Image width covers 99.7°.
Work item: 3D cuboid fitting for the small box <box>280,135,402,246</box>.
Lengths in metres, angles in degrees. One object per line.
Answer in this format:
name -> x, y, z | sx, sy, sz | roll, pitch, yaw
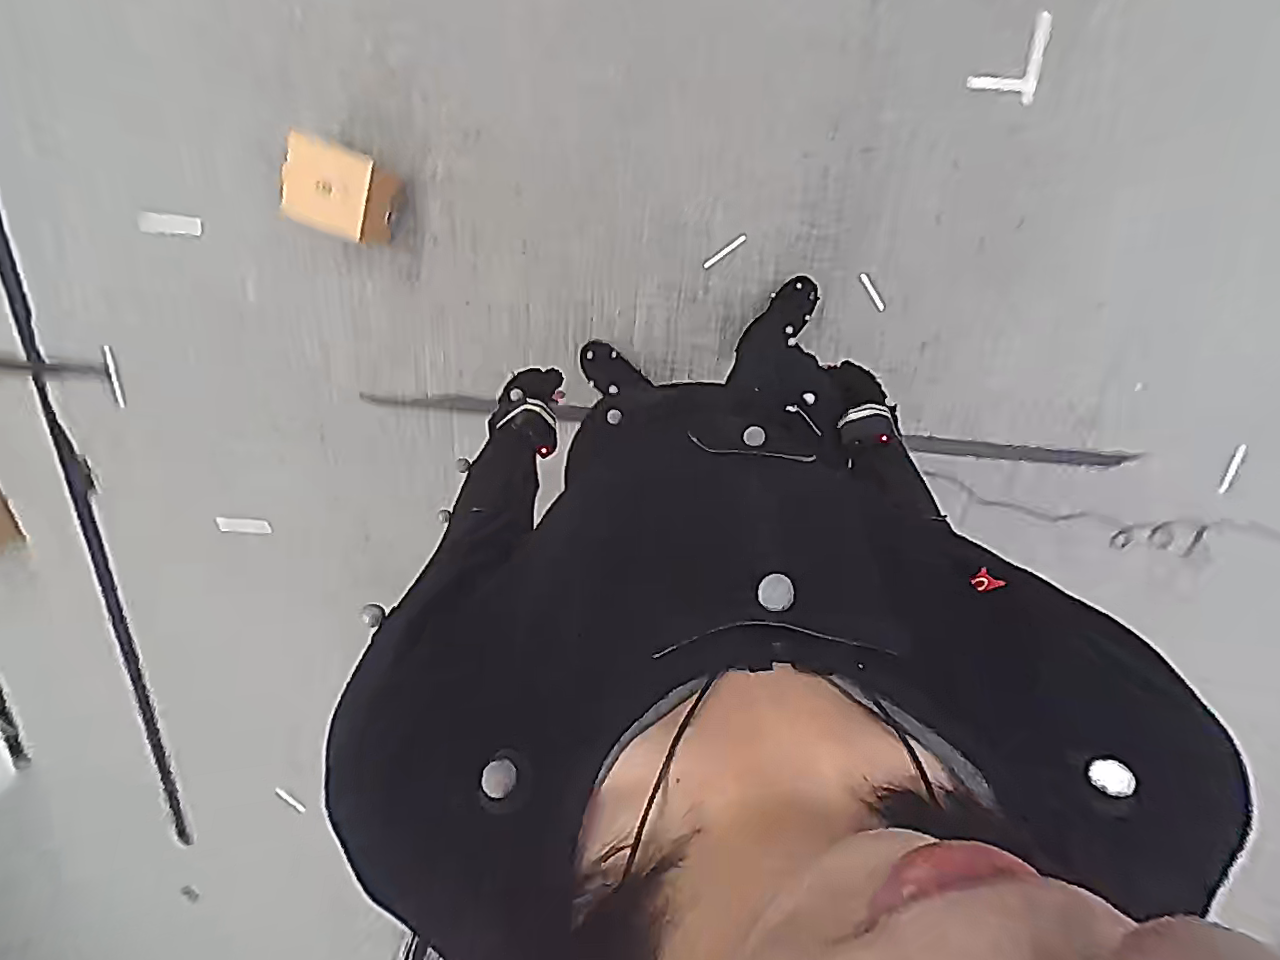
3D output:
small box -> -0.671, -0.643, 1.228 | 0.179, 0.176, 0.168 | 18, 109, -8
